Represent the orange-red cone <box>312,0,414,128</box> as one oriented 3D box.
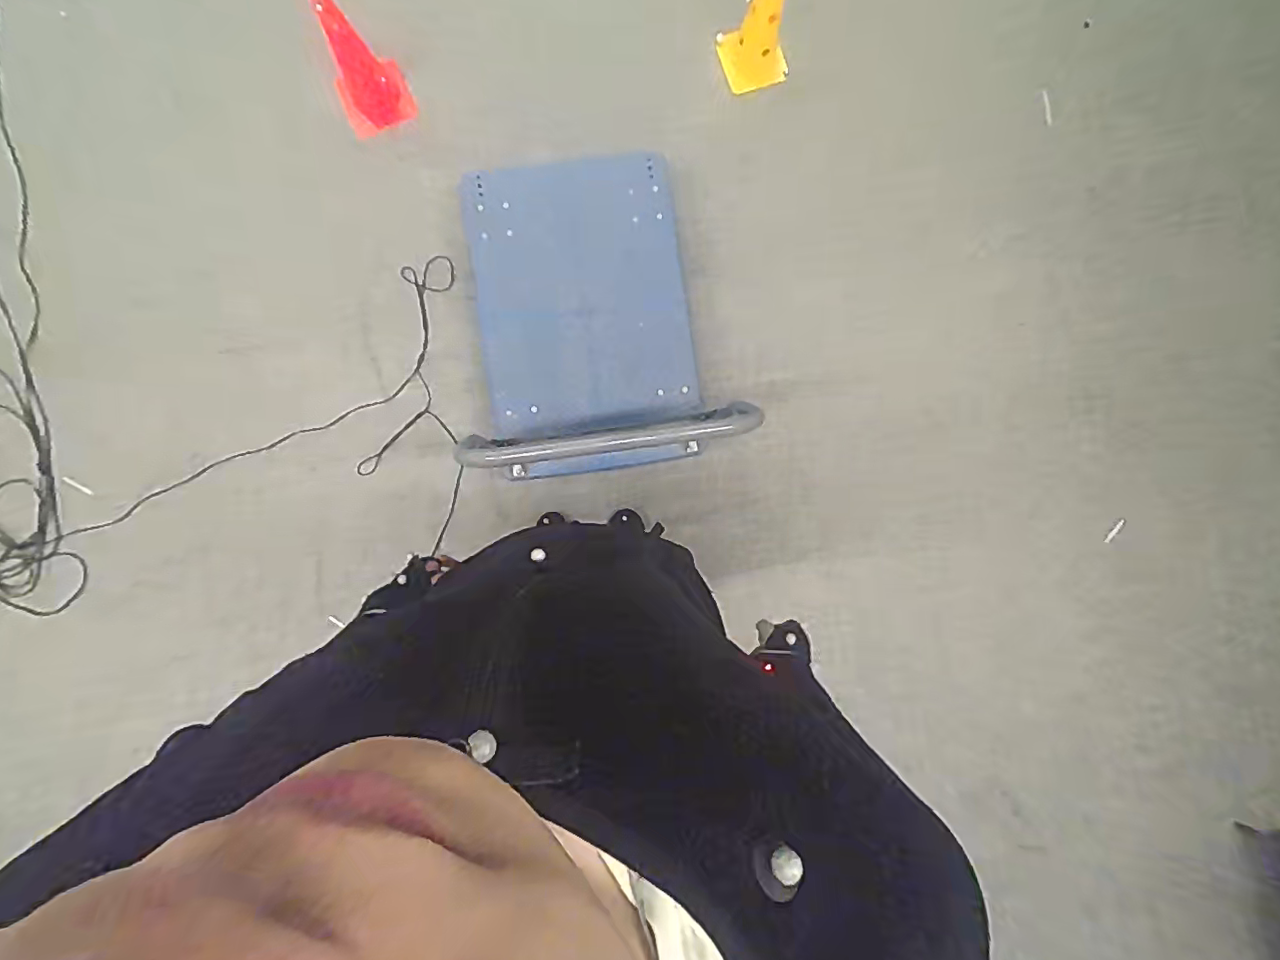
[{"bbox_3d":[-0.801,-1.193,1.476,0.199,0.360,0.198,-23,89,-3],"label":"orange-red cone"}]
